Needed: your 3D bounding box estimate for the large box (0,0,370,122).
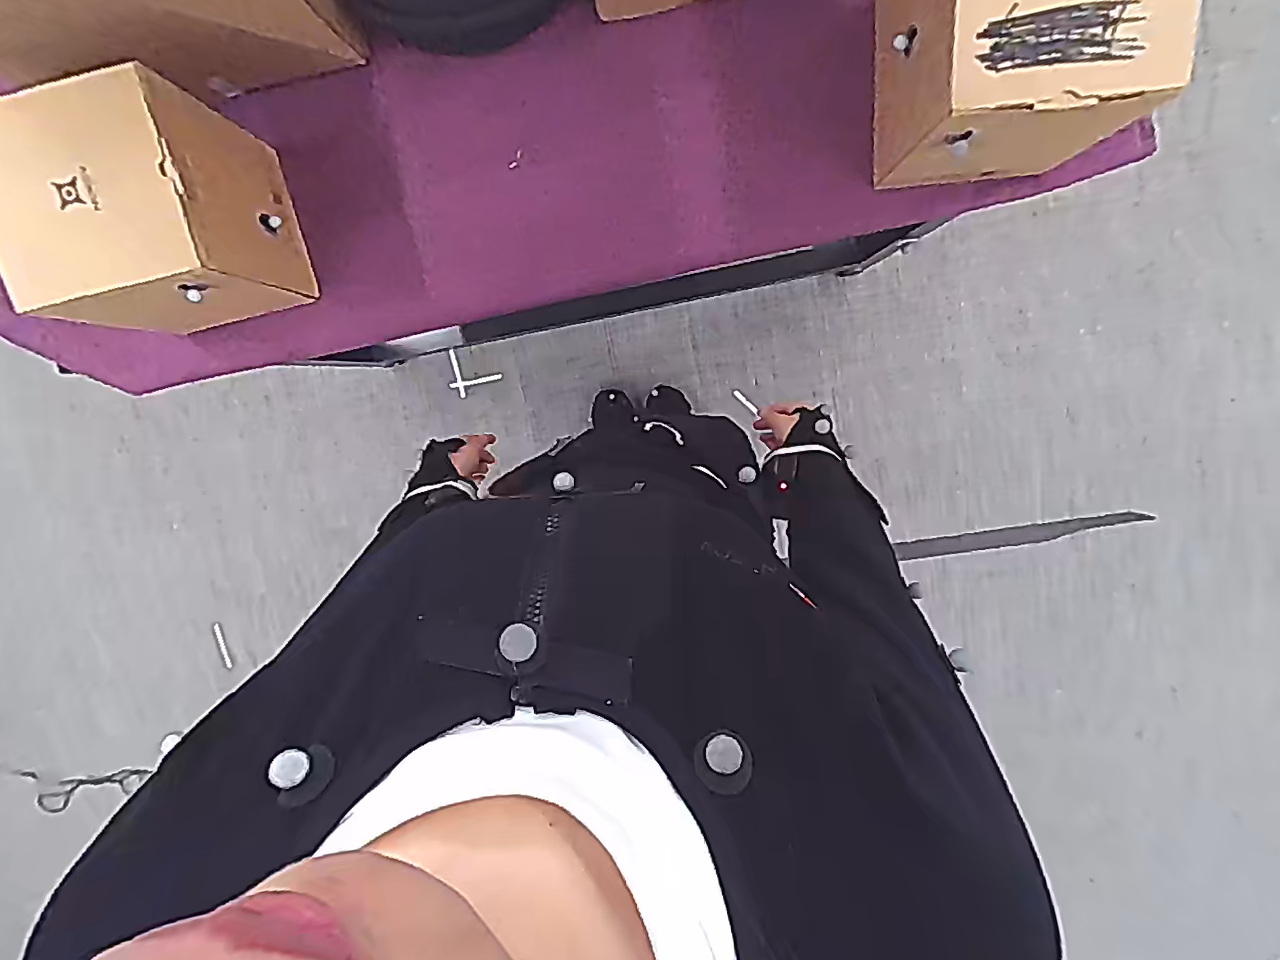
[{"bbox_3d":[-0.478,-0.579,0.408,0.320,0.320,0.408,-10,103,6],"label":"large box"}]
